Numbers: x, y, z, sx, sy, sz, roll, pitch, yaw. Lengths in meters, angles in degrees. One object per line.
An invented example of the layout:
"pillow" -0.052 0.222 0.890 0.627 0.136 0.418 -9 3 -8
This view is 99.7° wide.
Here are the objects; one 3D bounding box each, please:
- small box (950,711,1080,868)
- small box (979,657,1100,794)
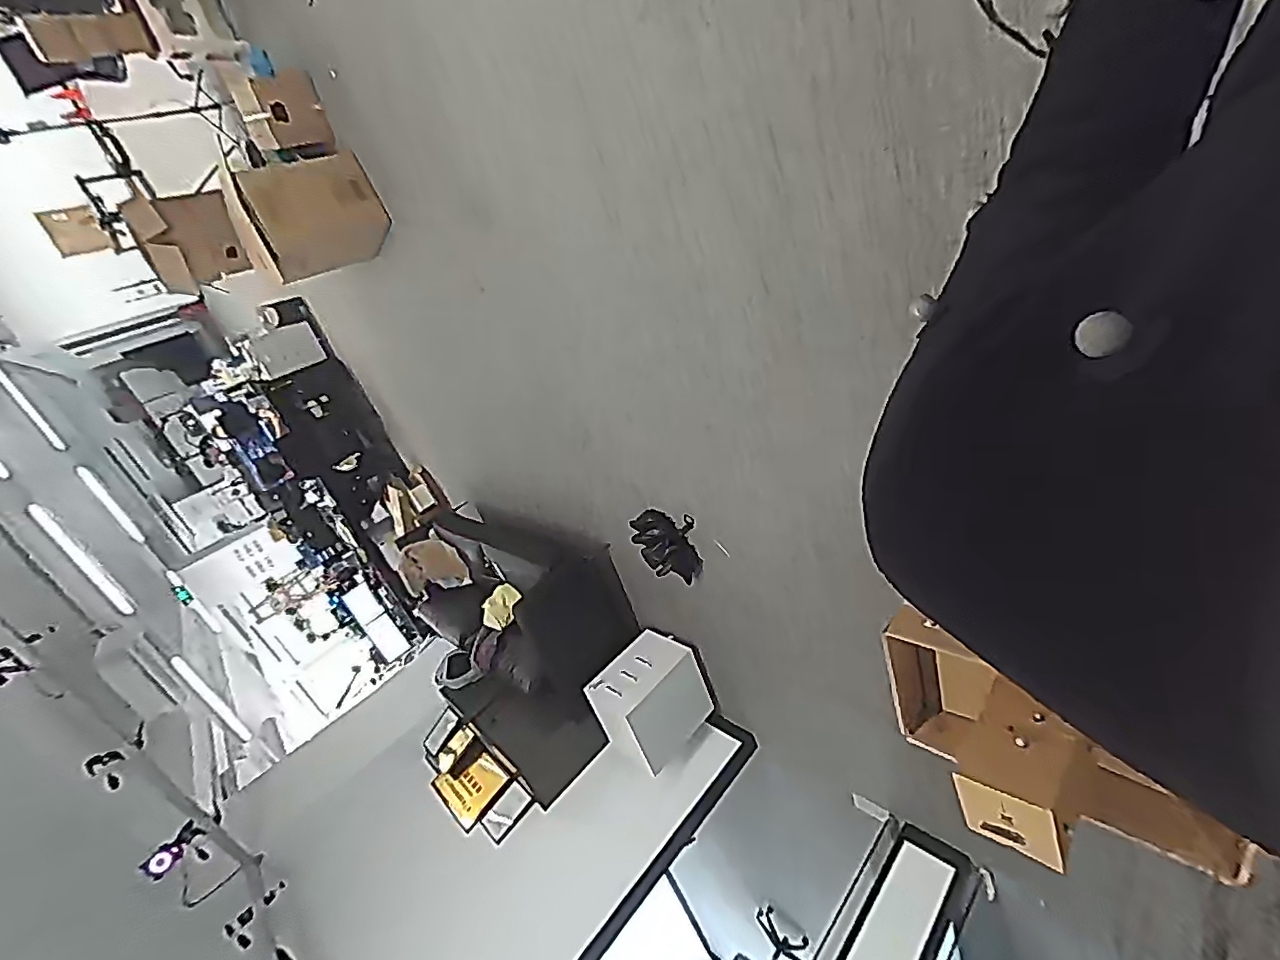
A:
"small box" 0.752 0.605 1.078 0.168 0.176 0.179 2 121 51
"small box" 0.862 0.518 1.163 0.168 0.176 0.179 0 122 51
